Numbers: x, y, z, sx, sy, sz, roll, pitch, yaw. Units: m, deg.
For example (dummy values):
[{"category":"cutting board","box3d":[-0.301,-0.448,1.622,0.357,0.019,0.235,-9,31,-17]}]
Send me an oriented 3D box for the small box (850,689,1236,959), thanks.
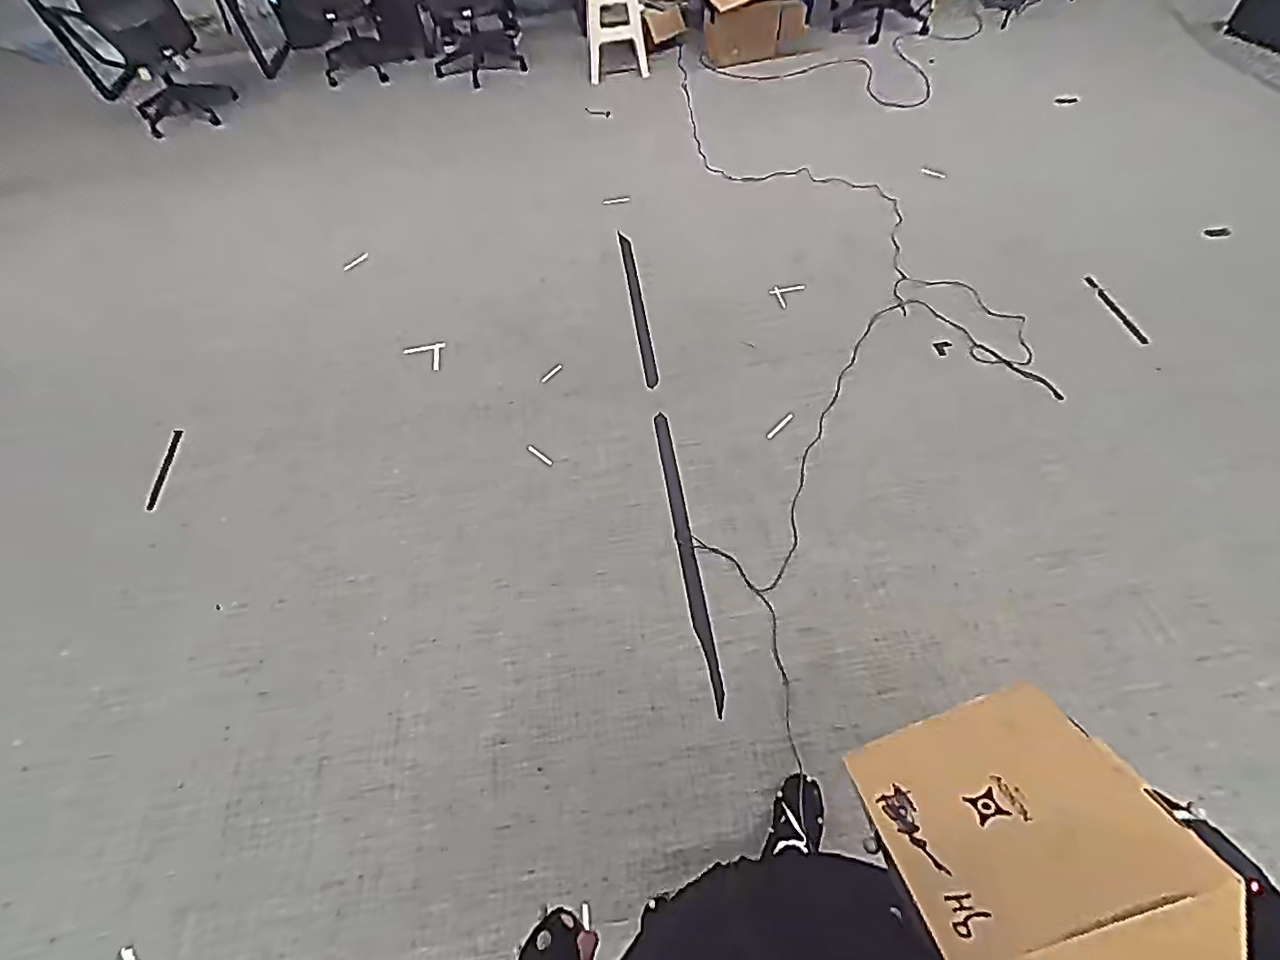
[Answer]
[{"category":"small box","box3d":[0.301,0.311,0.431,0.179,0.176,0.168,-23,20,5]}]
